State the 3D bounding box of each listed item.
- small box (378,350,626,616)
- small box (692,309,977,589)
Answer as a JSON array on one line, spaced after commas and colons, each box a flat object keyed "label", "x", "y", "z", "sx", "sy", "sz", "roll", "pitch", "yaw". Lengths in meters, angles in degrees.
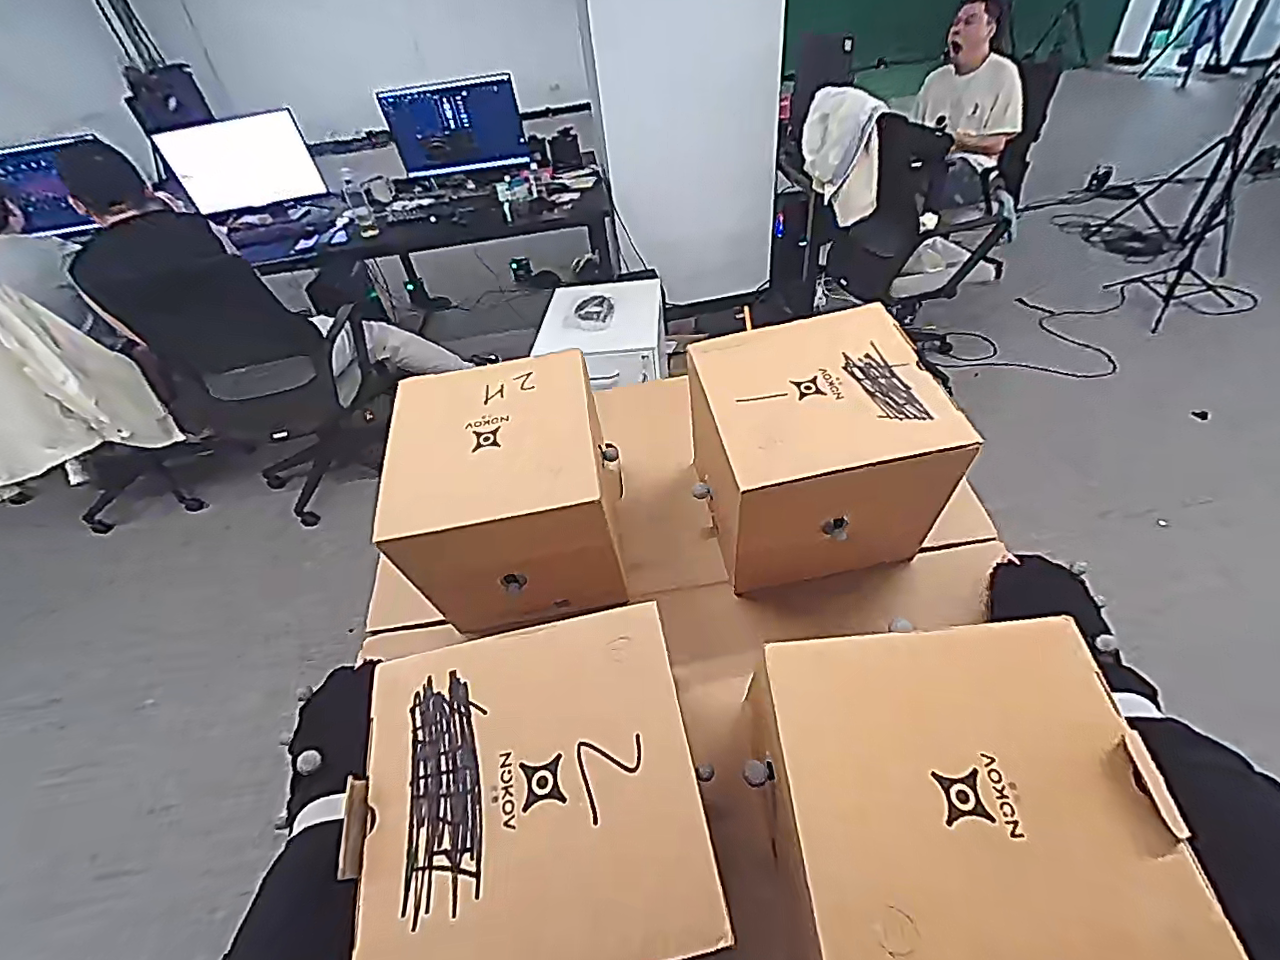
[{"label": "small box", "x": -0.110, "y": 0.012, "z": 0.498, "sx": 0.168, "sy": 0.176, "sz": 0.179, "roll": -9, "pitch": 52, "yaw": 0}, {"label": "small box", "x": 0.149, "y": -0.021, "z": 0.486, "sx": 0.179, "sy": 0.176, "sz": 0.168, "roll": -11, "pitch": 53, "yaw": 0}]
